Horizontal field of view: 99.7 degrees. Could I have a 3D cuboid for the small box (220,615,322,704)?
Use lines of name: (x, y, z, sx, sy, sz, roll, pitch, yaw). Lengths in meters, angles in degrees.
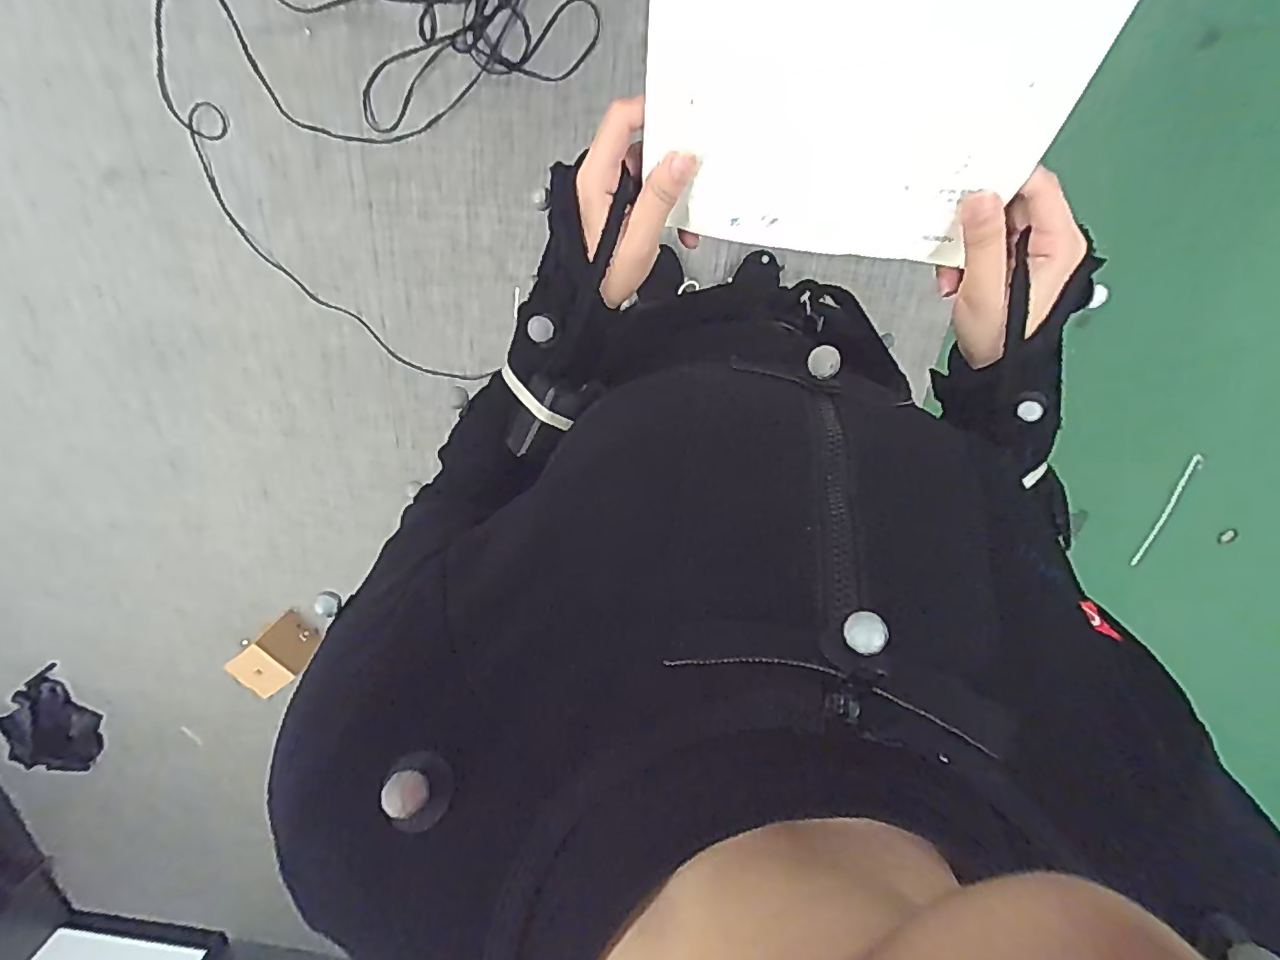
small box: (-1.167, 0.570, 1.725, 0.179, 0.176, 0.168, -34, 108, 18)
